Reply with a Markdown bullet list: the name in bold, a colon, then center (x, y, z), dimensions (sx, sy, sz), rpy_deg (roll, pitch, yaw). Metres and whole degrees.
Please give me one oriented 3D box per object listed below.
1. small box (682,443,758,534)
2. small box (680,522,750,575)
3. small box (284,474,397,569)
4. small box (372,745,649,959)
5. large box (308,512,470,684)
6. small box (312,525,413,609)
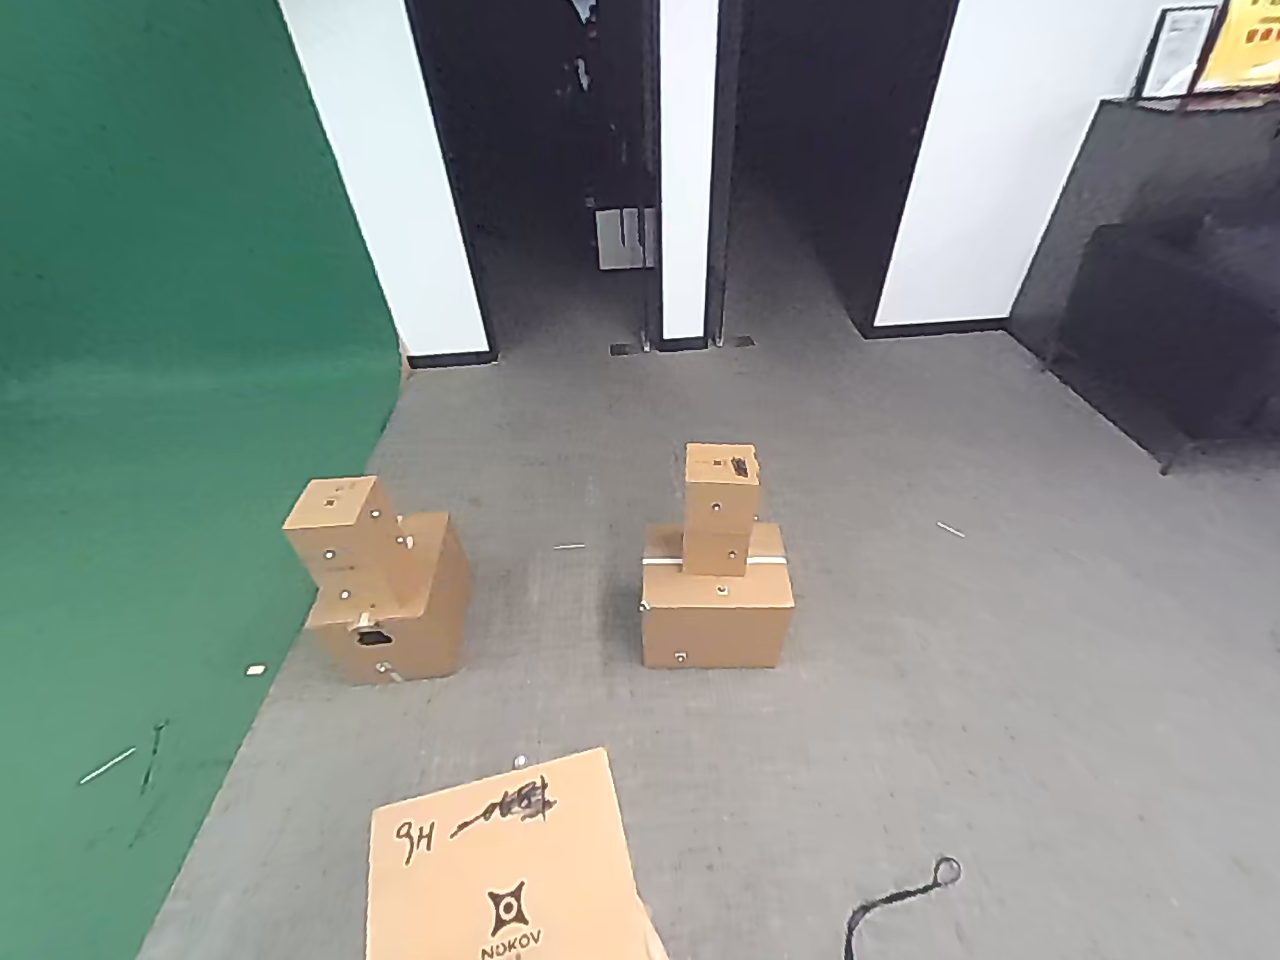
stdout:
- **small box**: center (0.202, 0.023, 1.390), dimensions (0.179, 0.176, 0.168), rpy_deg (2, 39, 6)
- **small box**: center (0.205, 0.147, 1.498), dimensions (0.179, 0.176, 0.168), rpy_deg (2, 39, 5)
- **small box**: center (-0.726, 0.107, 1.337), dimensions (0.168, 0.176, 0.179), rpy_deg (-3, 41, -1)
- **small box**: center (-0.088, 0.326, 0.403), dimensions (0.168, 0.176, 0.179), rpy_deg (-8, 52, -13)
- **large box**: center (-0.740, 0.357, 1.672), dimensions (0.320, 0.320, 0.408), rpy_deg (-4, 40, -2)
- **small box**: center (-0.729, 0.231, 1.447), dimensions (0.168, 0.176, 0.179), rpy_deg (-3, 40, -1)
